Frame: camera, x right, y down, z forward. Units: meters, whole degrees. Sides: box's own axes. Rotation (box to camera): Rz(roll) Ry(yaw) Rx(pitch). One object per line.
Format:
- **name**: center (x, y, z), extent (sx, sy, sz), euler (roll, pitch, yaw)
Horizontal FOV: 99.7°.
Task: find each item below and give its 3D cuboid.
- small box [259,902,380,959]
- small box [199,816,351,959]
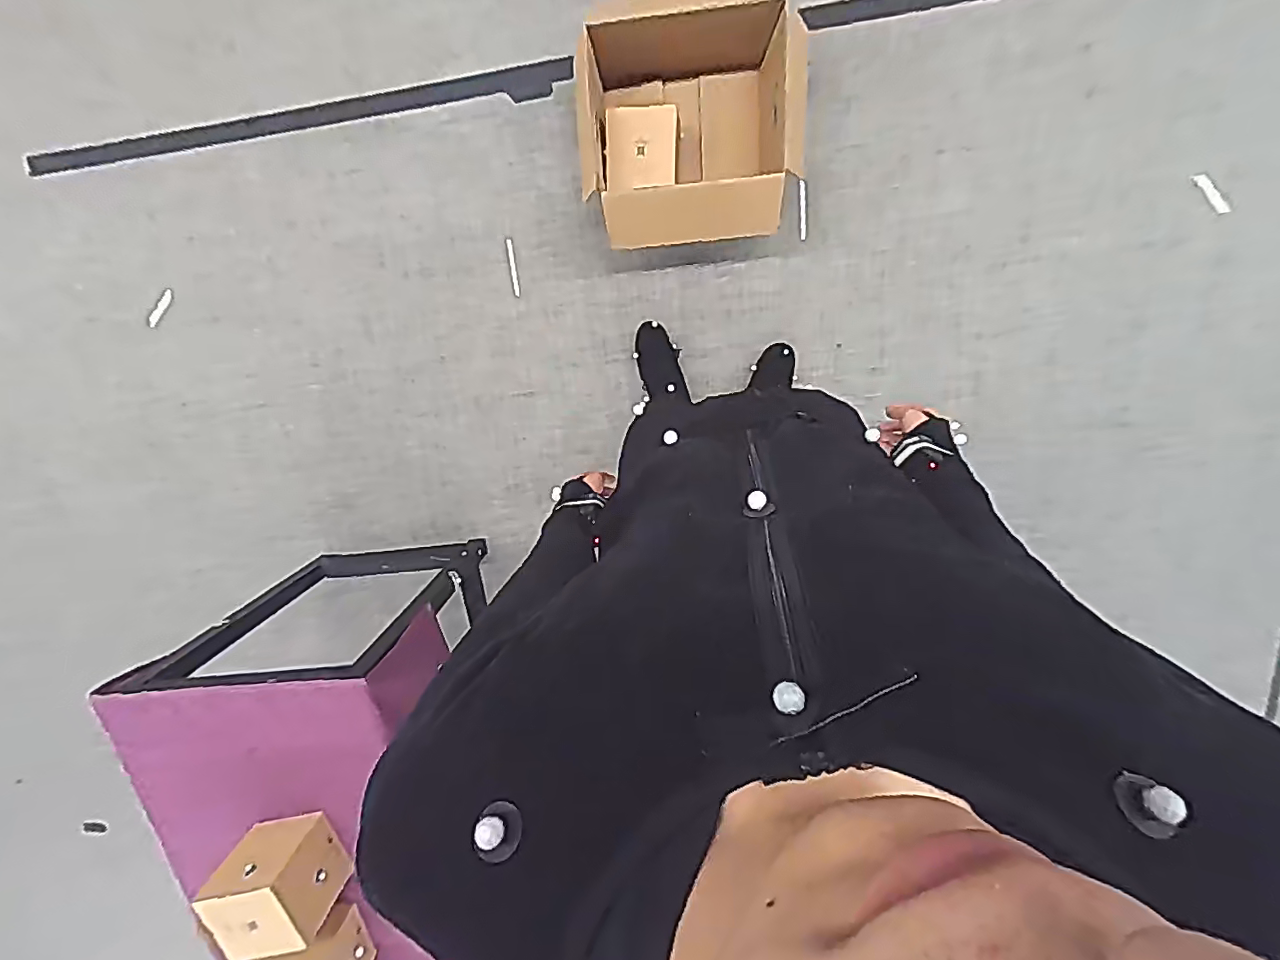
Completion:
- **small box**: center (-0.713, 1.073, 1.186), extent (0.179, 0.176, 0.168), euler (-10, 106, 6)
- **small box**: center (-0.733, 0.830, 1.115), extent (0.179, 0.176, 0.168), euler (-15, 105, 8)
